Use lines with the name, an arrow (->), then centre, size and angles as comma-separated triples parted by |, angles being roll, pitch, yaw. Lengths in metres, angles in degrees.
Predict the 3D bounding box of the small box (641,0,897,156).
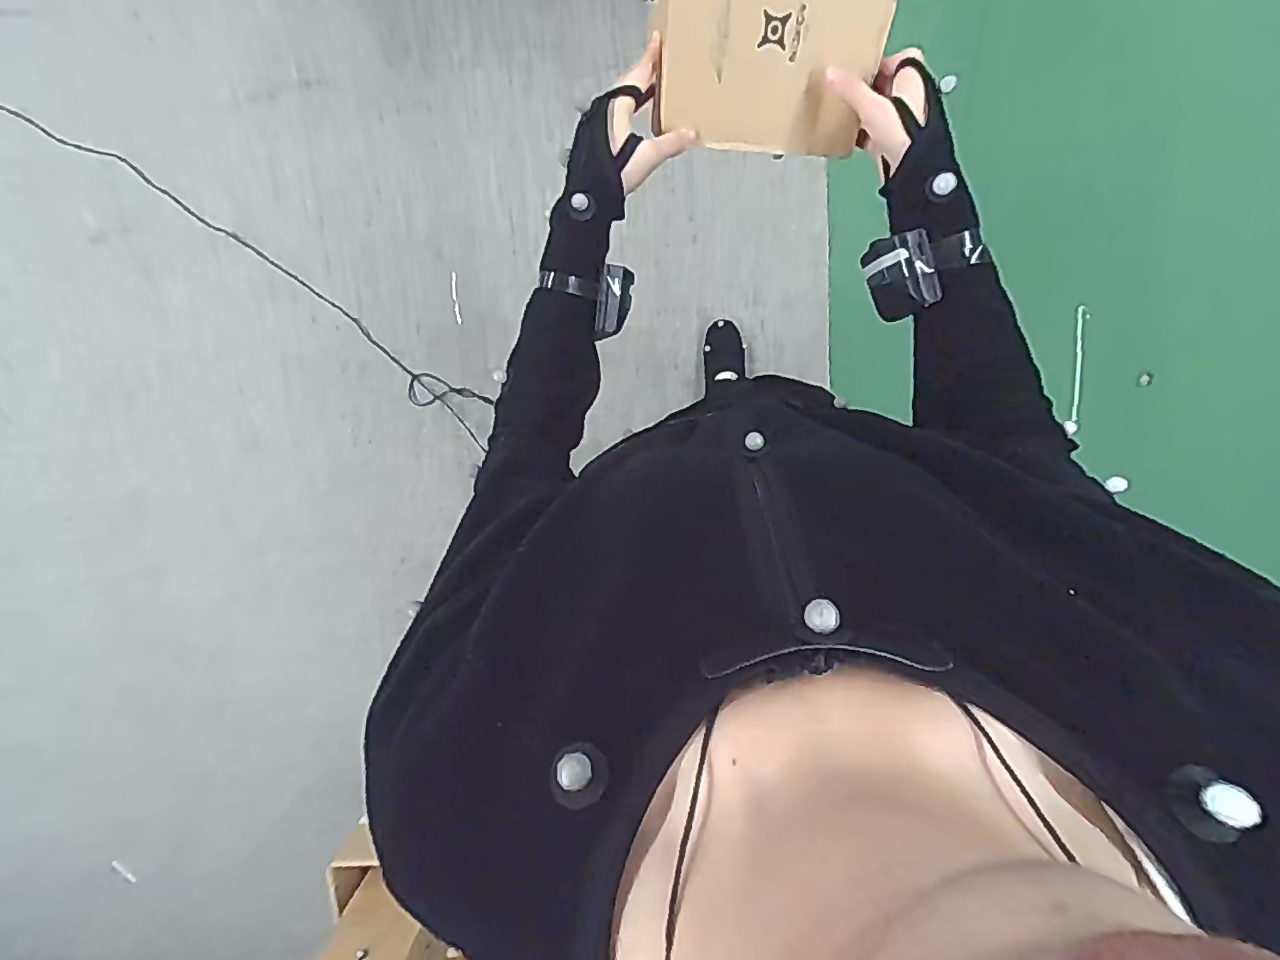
small box -> 0.100, -0.400, 0.472 | 0.179, 0.176, 0.168 | 1, 130, -6
